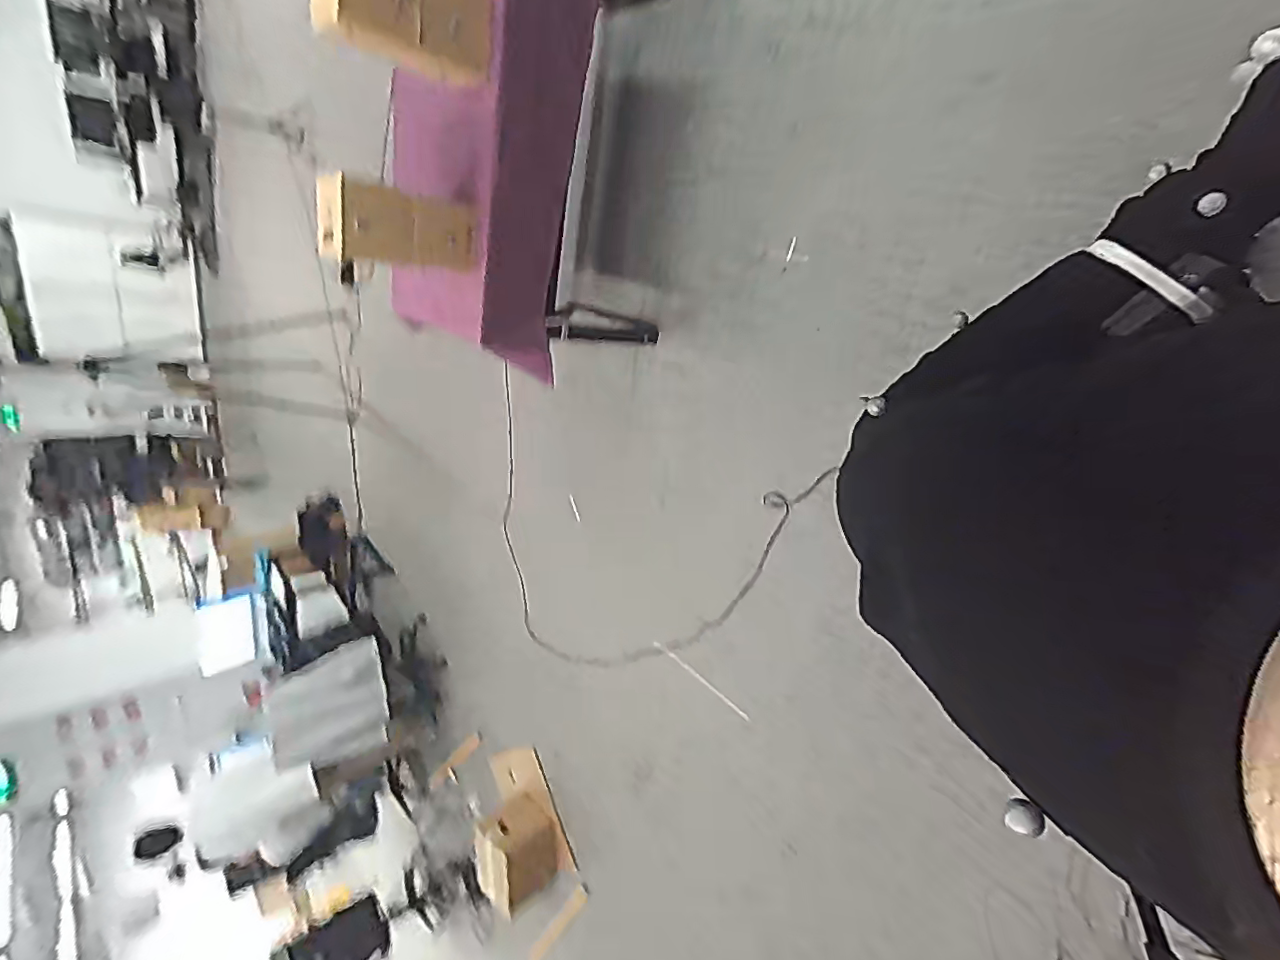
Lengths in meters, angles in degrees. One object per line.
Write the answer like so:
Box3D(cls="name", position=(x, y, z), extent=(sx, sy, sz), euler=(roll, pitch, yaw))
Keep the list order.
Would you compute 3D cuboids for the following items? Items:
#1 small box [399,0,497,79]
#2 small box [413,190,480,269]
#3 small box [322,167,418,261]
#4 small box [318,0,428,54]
Box3D(cls="small box", position=(-0.453, -1.074, 1.273), extent=(0.168, 0.176, 0.179), euler=(27, 117, 39))
Box3D(cls="small box", position=(-0.542, -0.667, 1.436), extent=(0.179, 0.176, 0.168), euler=(29, 116, 39))
Box3D(cls="small box", position=(-0.657, -0.644, 1.320), extent=(0.168, 0.176, 0.179), euler=(28, 116, 38))
Box3D(cls="small box", position=(-0.573, -1.053, 1.164), extent=(0.179, 0.176, 0.168), euler=(29, 116, 38))
